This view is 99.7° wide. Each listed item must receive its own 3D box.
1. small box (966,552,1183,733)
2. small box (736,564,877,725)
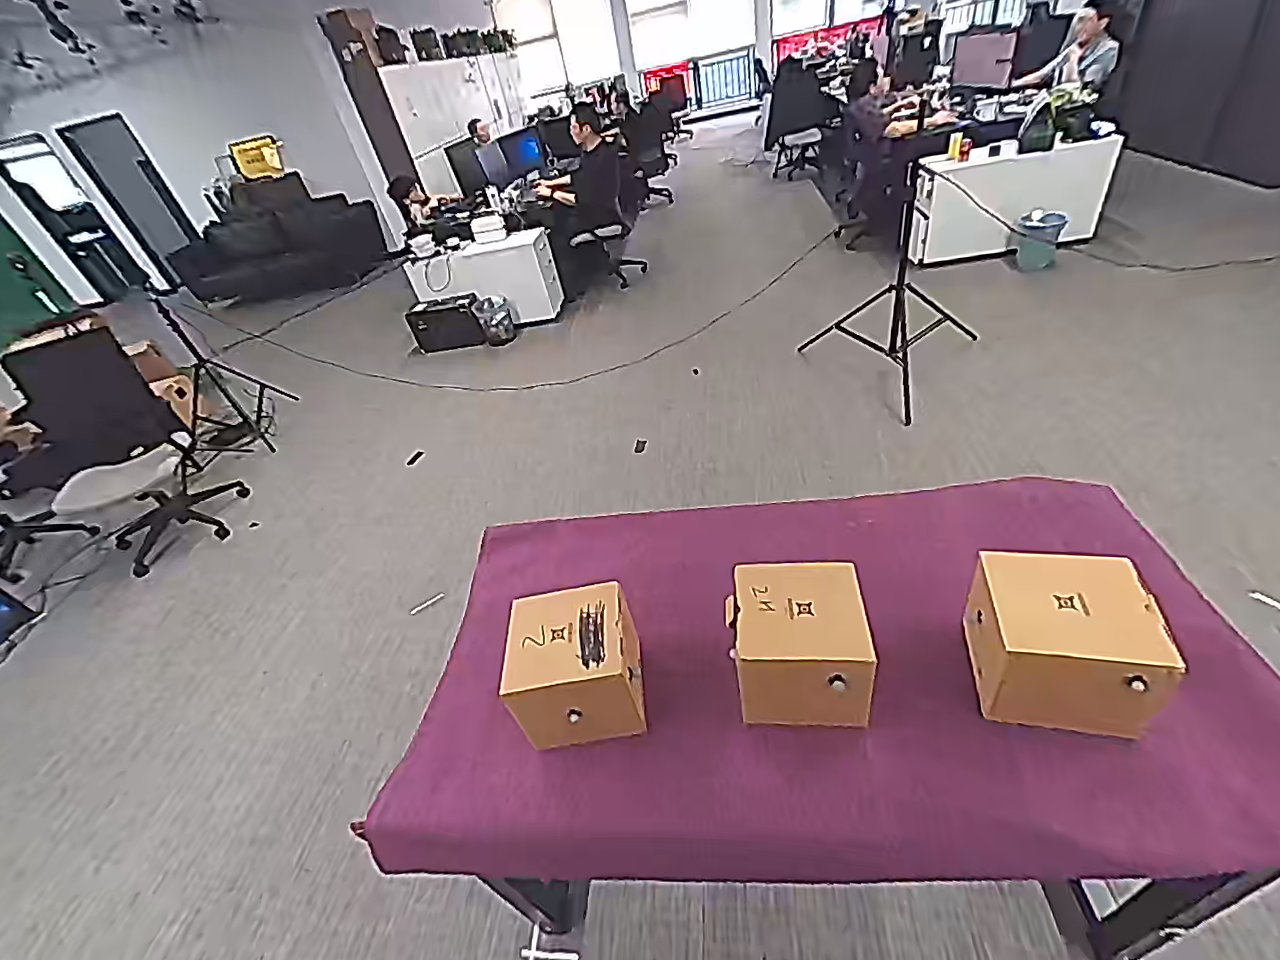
[{"bbox_3d":[0.558,0.217,0.731,0.179,0.176,0.168,0,40,18],"label":"small box"},{"bbox_3d":[0.236,0.243,0.799,0.179,0.176,0.168,-4,38,12],"label":"small box"}]
